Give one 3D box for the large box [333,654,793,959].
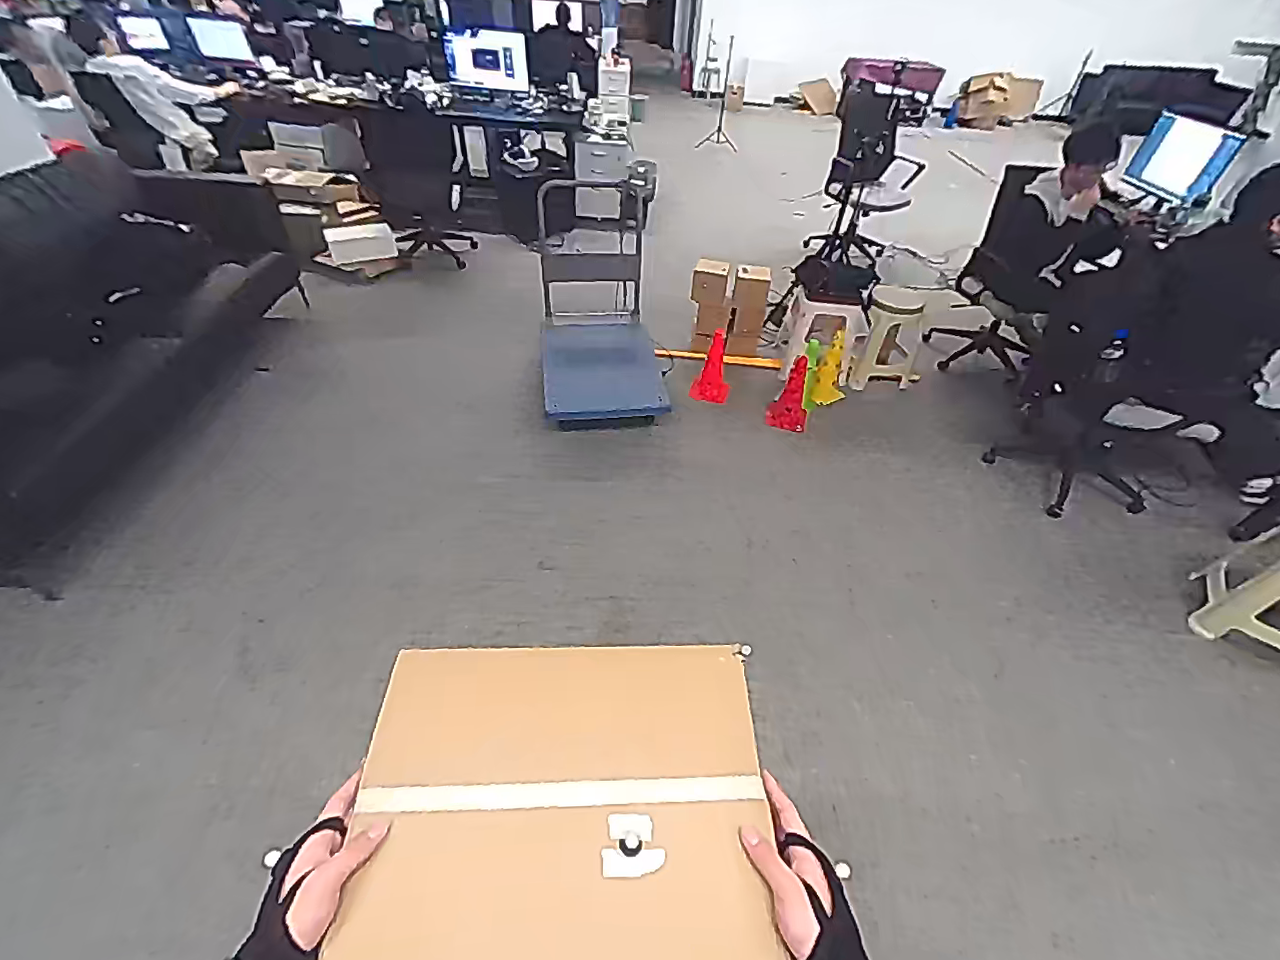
[{"bbox_3d":[-0.078,0.431,0.656,0.408,0.320,0.320,0,47,-3],"label":"large box"}]
